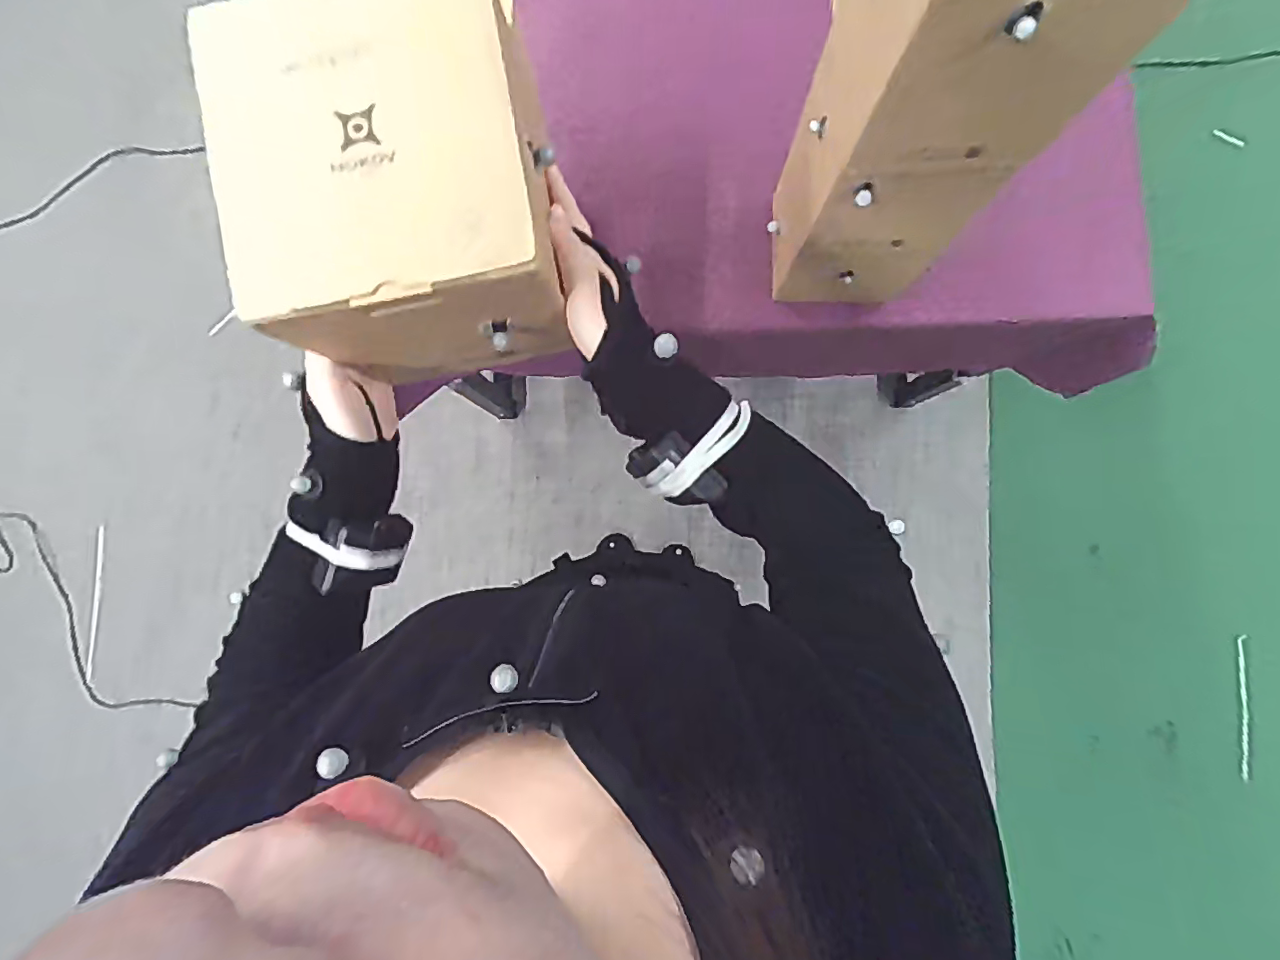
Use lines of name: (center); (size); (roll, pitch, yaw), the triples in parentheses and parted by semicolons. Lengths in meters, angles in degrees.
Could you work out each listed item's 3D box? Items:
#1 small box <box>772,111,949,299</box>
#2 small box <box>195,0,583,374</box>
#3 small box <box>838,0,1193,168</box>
small box: (0.284, -0.356, 0.727); (0.179, 0.176, 0.168); (2, 86, 3)
small box: (-0.140, -0.177, 0.364); (0.168, 0.176, 0.179); (-10, 89, 2)
small box: (0.255, -0.367, 0.398); (0.168, 0.176, 0.179); (-1, 85, 3)
